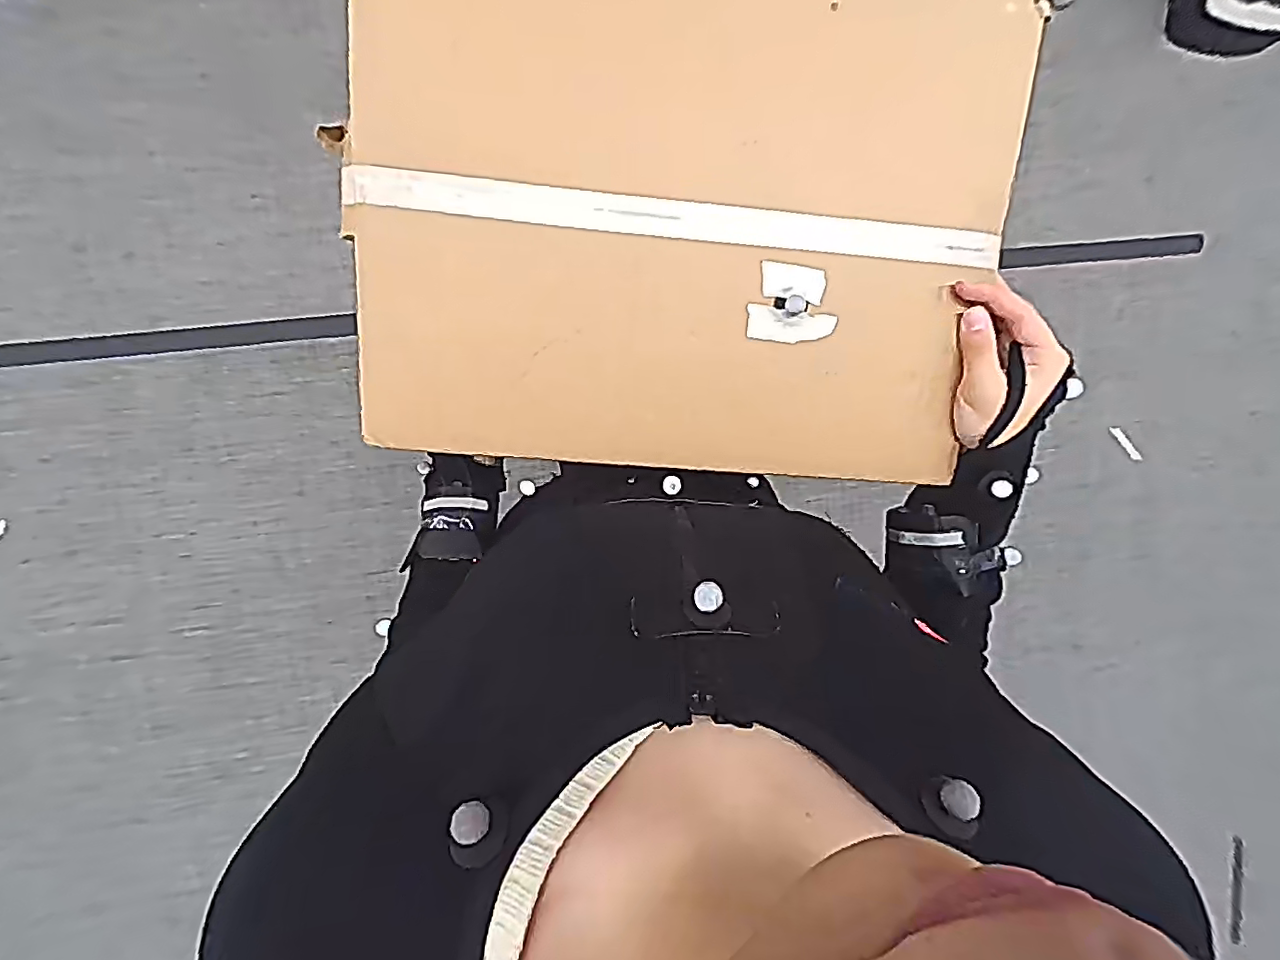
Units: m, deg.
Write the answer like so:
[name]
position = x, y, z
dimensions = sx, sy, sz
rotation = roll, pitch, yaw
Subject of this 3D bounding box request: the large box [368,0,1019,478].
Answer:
[large box]
position = 0.020, -0.187, 0.493
dimensions = 0.408, 0.320, 0.320
rotation = 3, 102, -7
